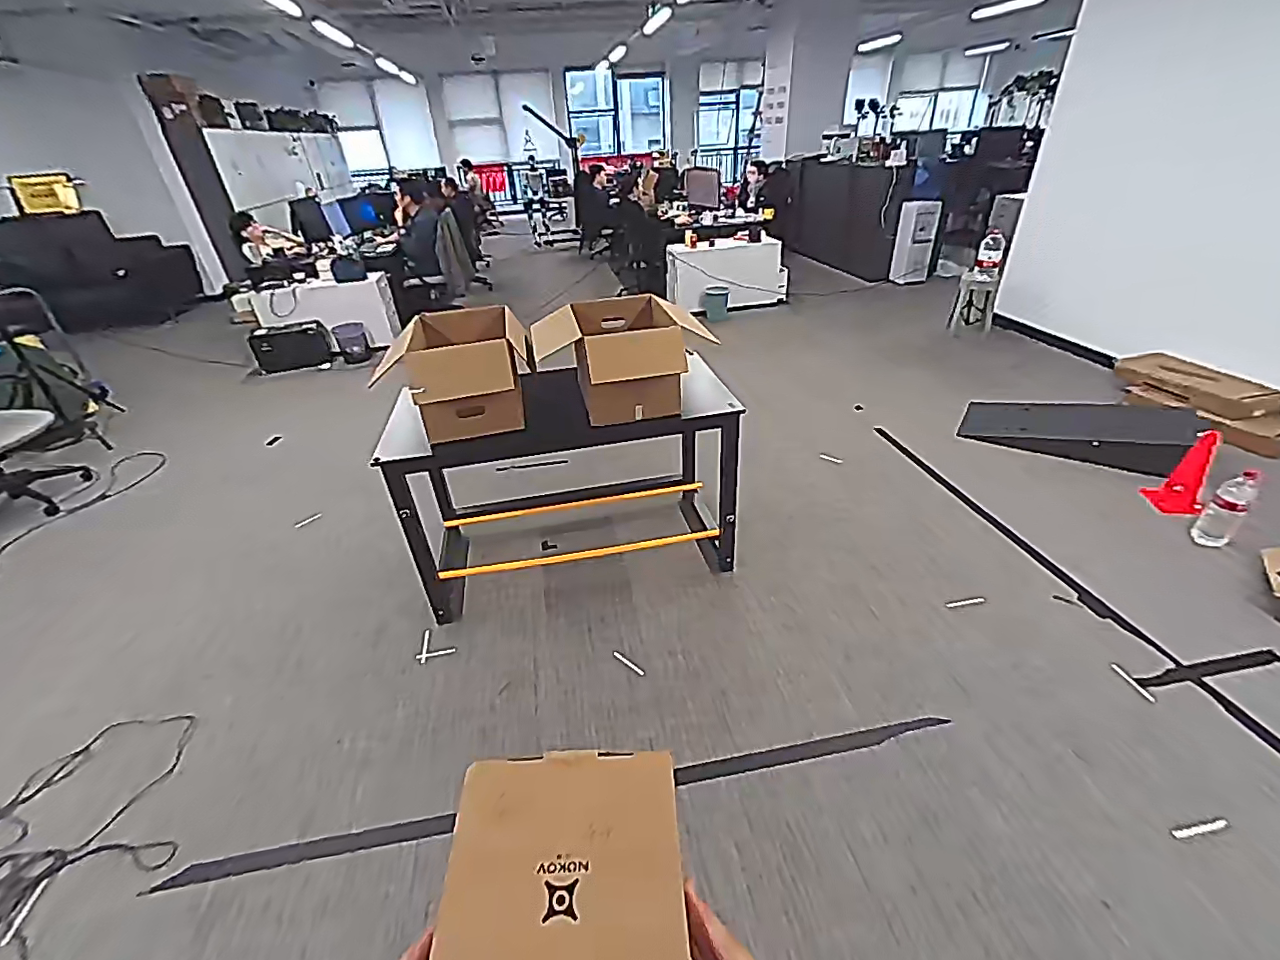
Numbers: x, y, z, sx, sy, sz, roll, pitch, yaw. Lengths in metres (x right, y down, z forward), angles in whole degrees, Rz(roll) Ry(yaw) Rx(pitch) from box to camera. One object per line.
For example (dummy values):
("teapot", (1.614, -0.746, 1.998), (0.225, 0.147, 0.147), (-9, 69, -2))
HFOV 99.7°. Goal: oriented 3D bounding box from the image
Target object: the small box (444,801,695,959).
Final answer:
("small box", (-0.046, 0.370, 0.402), (0.168, 0.176, 0.179), (-3, 38, -1))
